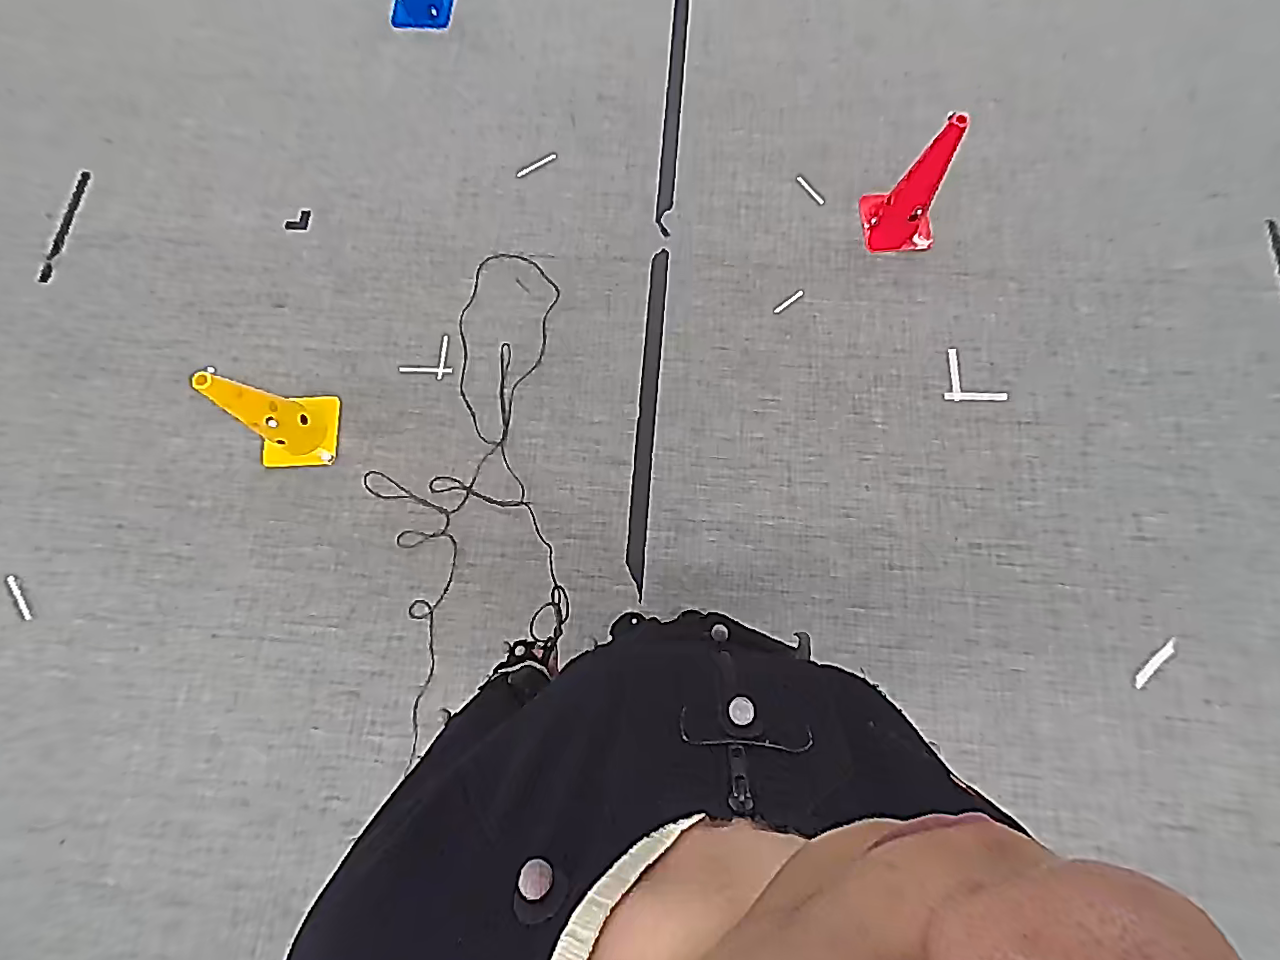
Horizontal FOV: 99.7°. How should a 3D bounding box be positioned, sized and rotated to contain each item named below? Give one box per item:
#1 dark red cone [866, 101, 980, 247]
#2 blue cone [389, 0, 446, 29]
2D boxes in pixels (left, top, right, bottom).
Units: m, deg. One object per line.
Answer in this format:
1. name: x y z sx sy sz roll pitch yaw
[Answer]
1. dark red cone: 0.770 -0.817 1.431 0.201 0.394 0.202 -4 76 1
2. blue cone: -0.760 -1.652 1.681 0.192 0.380 0.193 4 76 3
